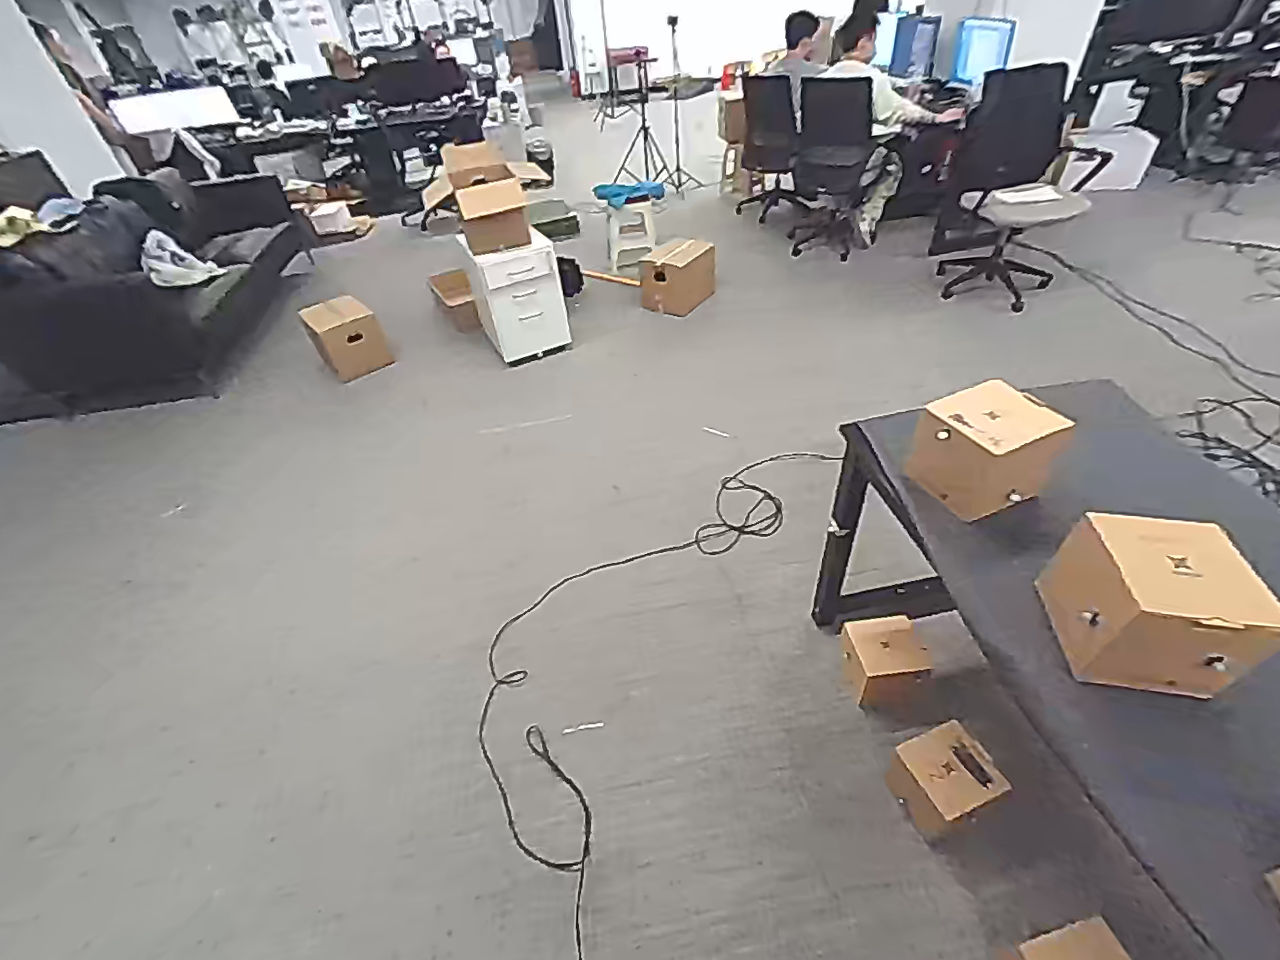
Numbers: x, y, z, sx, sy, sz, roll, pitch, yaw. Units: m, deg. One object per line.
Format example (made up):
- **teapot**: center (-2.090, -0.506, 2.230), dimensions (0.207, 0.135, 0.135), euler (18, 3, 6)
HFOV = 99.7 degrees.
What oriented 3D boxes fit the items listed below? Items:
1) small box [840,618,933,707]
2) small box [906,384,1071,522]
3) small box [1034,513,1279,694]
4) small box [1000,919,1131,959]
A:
- **small box**: center (0.667, 0.506, 1.488), dimensions (0.179, 0.176, 0.168), euler (-7, 41, -1)
- **small box**: center (0.636, -0.051, 1.014), dimensions (0.179, 0.176, 0.168), euler (-19, 42, -13)
- **small box**: center (0.698, 0.172, 0.754), dimensions (0.168, 0.176, 0.179), euler (6, 41, 9)
- **small box**: center (0.793, 0.935, 0.976), dimensions (0.179, 0.176, 0.168), euler (-13, 42, -7)
